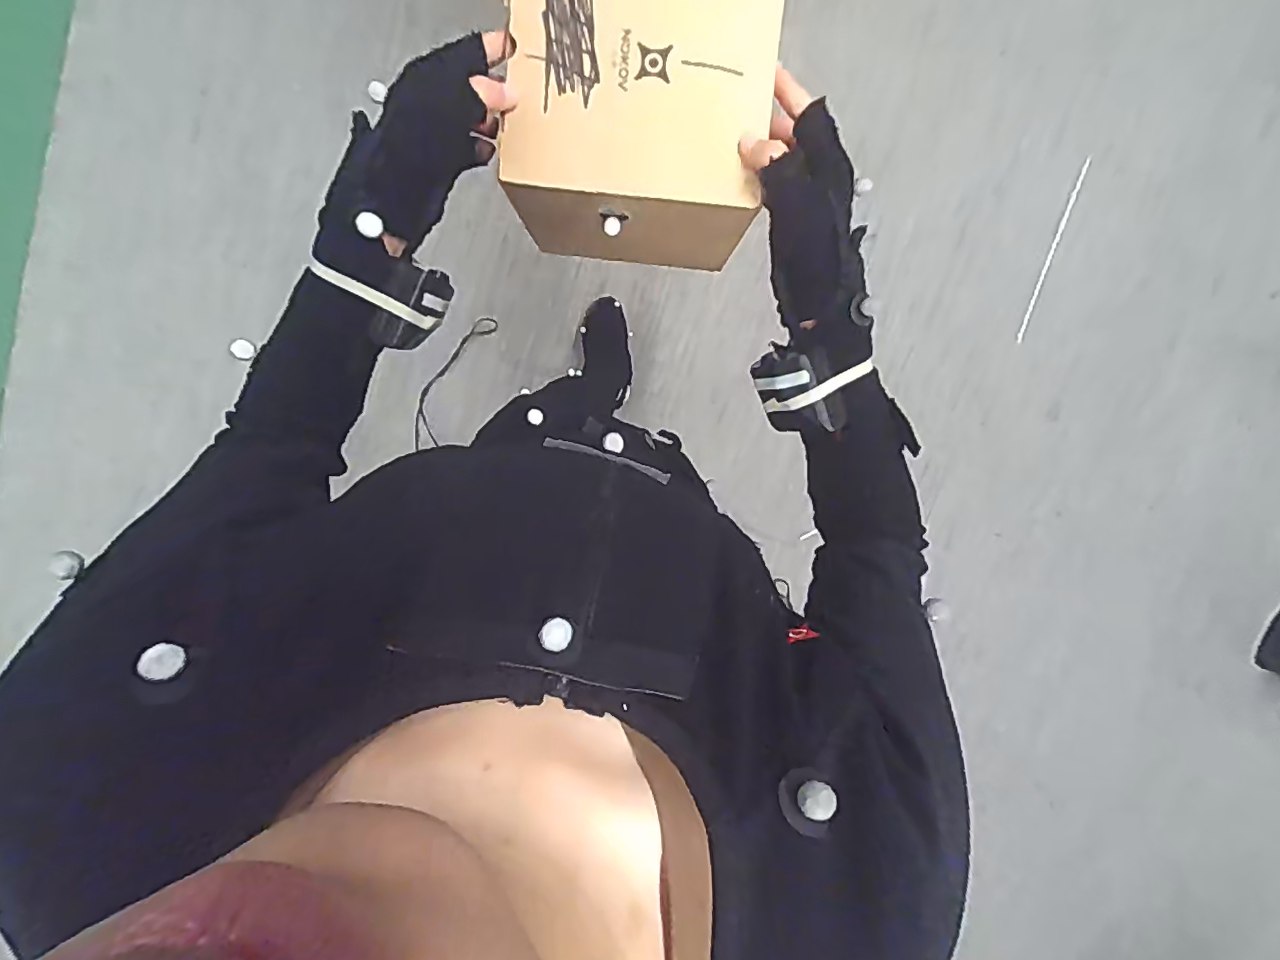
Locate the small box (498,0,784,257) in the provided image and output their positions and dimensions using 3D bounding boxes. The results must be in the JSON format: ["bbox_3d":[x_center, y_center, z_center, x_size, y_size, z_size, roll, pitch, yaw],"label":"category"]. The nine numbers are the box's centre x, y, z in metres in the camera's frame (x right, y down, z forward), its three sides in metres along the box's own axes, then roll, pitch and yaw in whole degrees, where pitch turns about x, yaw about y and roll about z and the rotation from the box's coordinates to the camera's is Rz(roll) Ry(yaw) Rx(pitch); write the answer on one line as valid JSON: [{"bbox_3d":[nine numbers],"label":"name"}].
[{"bbox_3d":[0.000,-0.286,0.422,0.179,0.176,0.168,5,97,-2],"label":"small box"}]
